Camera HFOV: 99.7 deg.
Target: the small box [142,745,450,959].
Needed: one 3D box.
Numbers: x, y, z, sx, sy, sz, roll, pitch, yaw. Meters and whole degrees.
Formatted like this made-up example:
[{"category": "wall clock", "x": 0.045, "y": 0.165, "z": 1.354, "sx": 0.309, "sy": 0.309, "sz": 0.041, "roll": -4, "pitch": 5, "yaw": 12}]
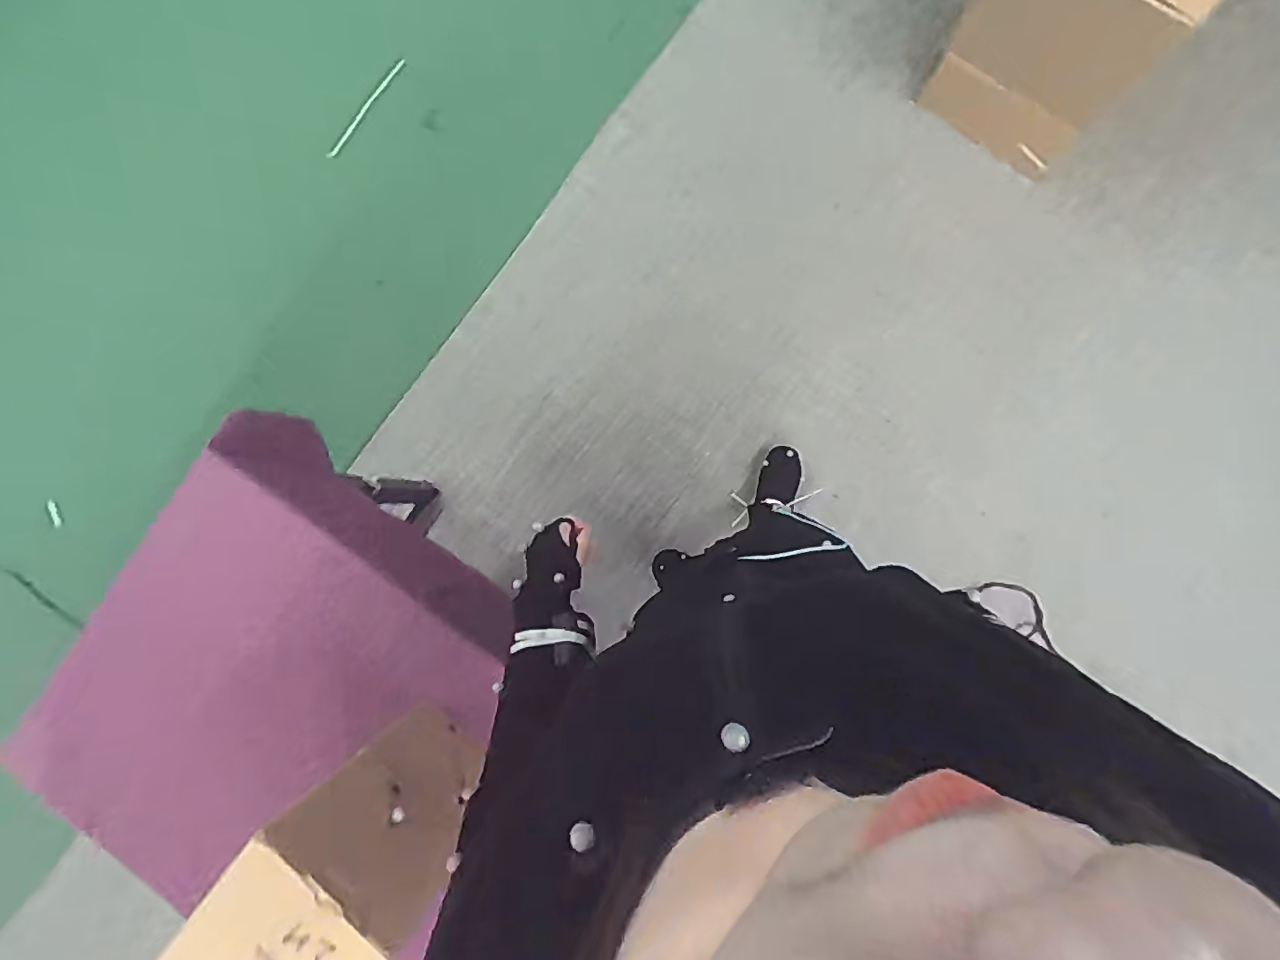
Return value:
[{"category": "small box", "x": -0.333, "y": 0.424, "z": 0.560, "sx": 0.168, "sy": 0.176, "sz": 0.179, "roll": 39, "pitch": 91, "yaw": 4}]
